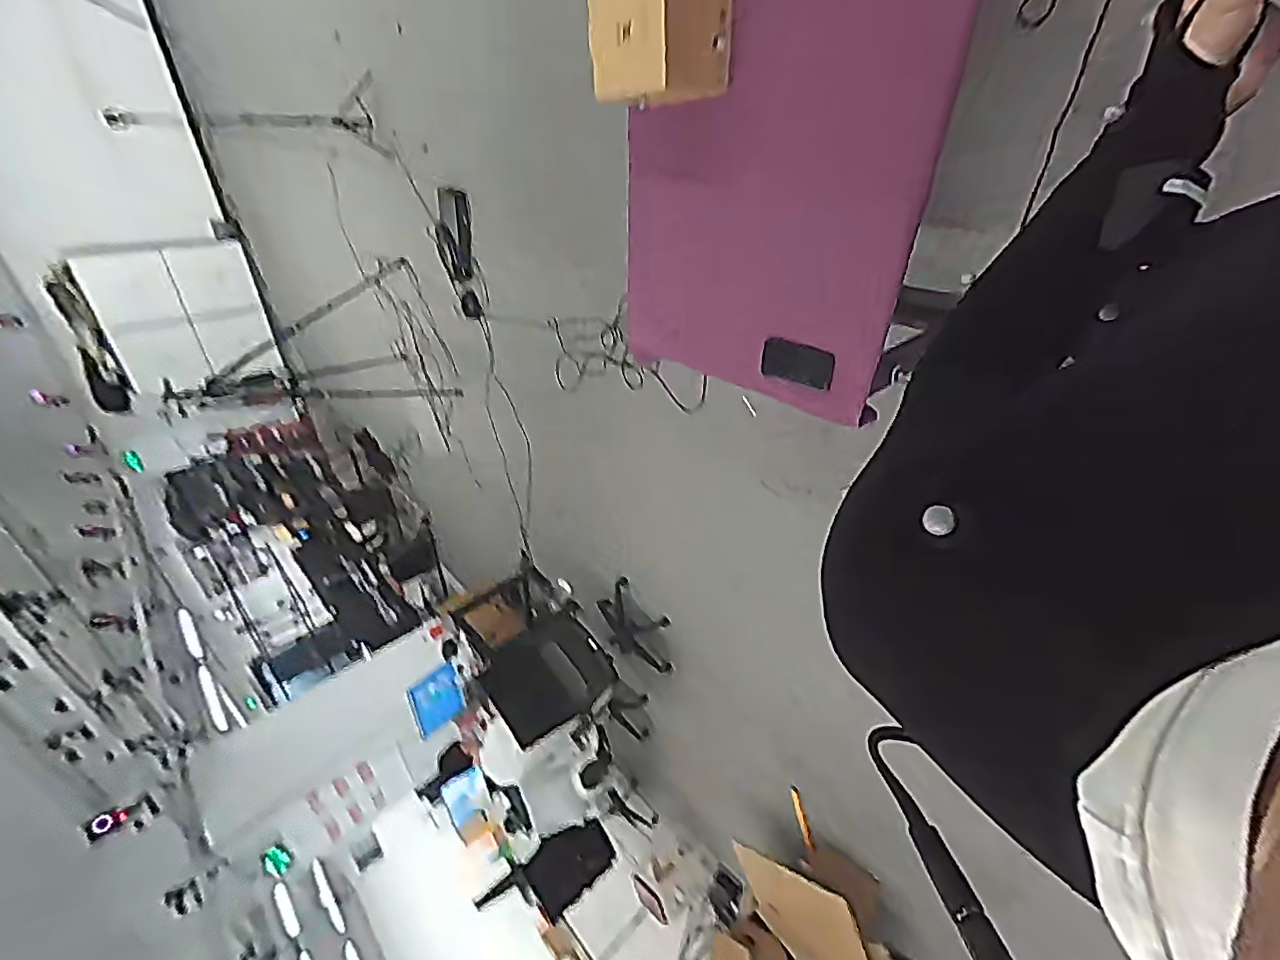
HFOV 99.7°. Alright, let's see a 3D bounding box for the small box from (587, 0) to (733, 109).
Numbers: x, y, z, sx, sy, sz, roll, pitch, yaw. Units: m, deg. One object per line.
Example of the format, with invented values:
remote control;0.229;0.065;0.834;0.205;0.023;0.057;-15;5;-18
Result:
small box;0.033;-0.732;0.910;0.179;0.176;0.168;26;131;39
